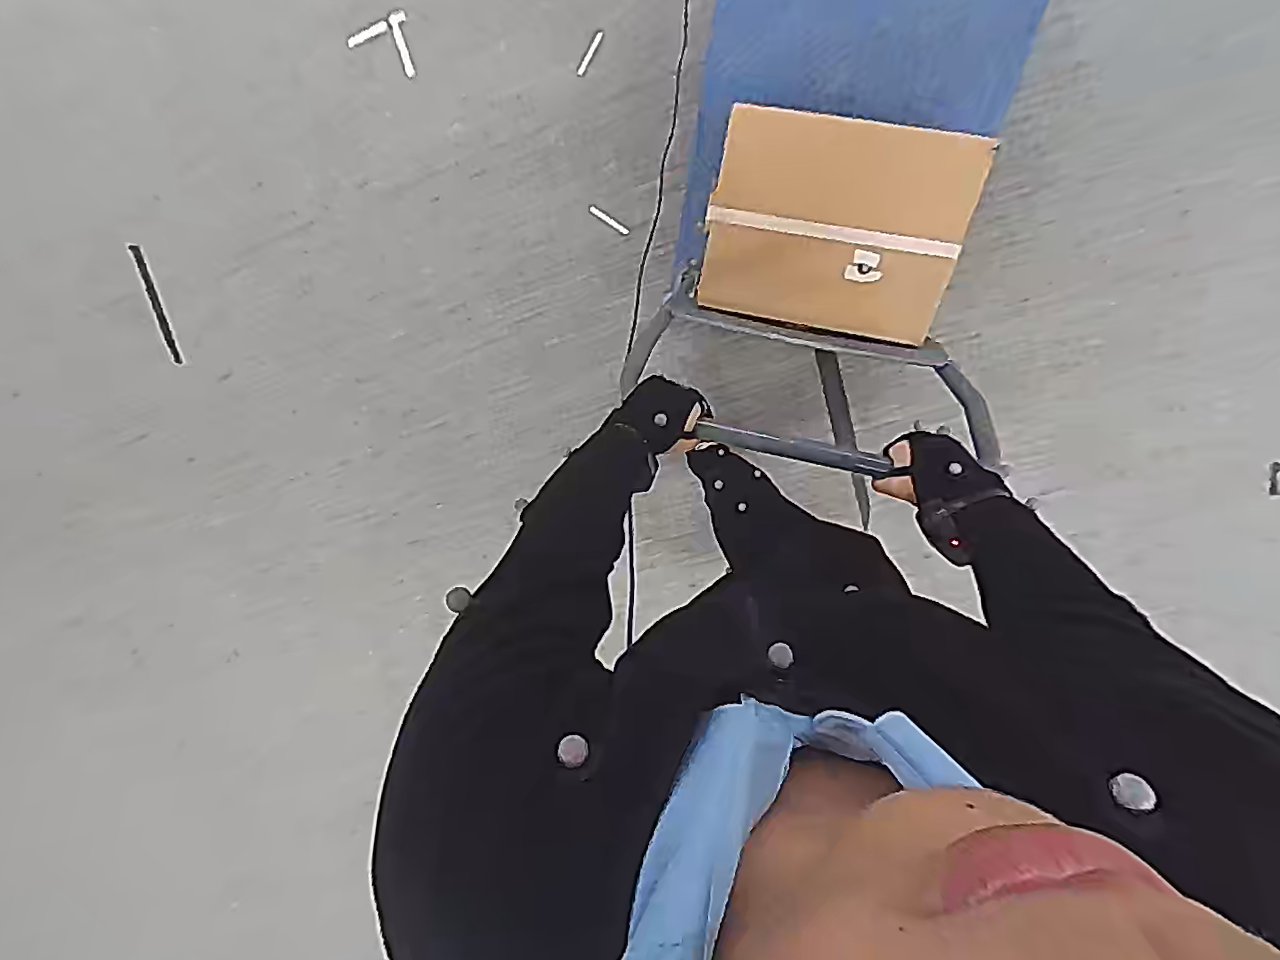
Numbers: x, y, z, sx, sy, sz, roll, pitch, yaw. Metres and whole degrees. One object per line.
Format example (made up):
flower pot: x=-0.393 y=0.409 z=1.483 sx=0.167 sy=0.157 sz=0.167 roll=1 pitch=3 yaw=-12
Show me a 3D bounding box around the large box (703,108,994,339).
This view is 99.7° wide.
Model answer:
large box: x=0.354 y=-0.485 z=1.039 sx=0.408 sy=0.320 sz=0.320 roll=13 pitch=119 yaw=7
